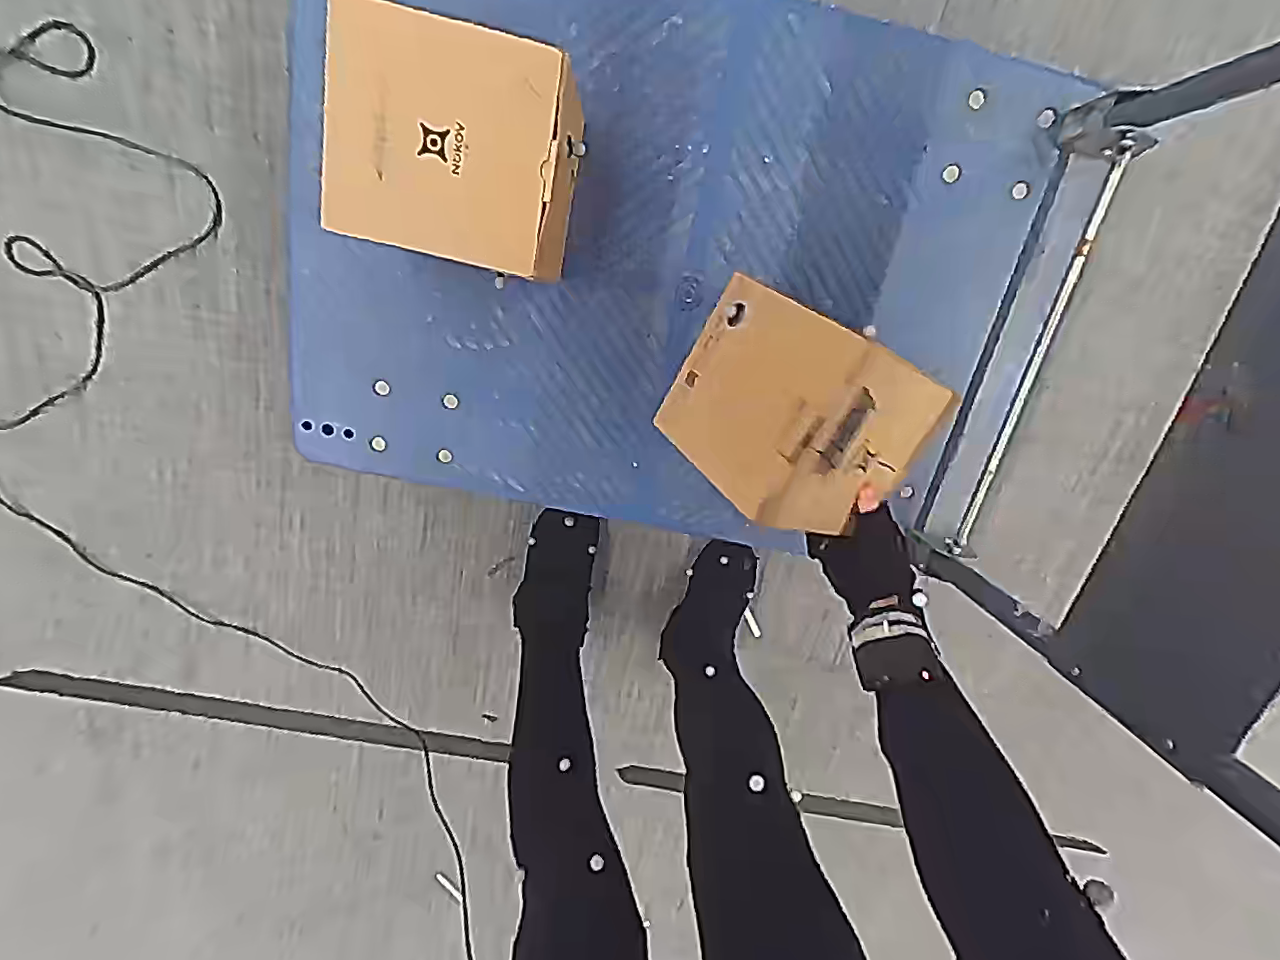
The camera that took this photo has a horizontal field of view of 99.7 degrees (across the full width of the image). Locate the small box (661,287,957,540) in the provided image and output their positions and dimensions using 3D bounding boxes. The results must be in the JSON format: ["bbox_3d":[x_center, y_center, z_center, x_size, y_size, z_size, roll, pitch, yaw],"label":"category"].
[{"bbox_3d":[0.151,-0.063,0.518,0.179,0.176,0.168,10,119,-43],"label":"small box"}]

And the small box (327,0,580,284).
[{"bbox_3d":[-0.157,-0.284,0.501,0.179,0.176,0.168,11,107,-4],"label":"small box"}]
